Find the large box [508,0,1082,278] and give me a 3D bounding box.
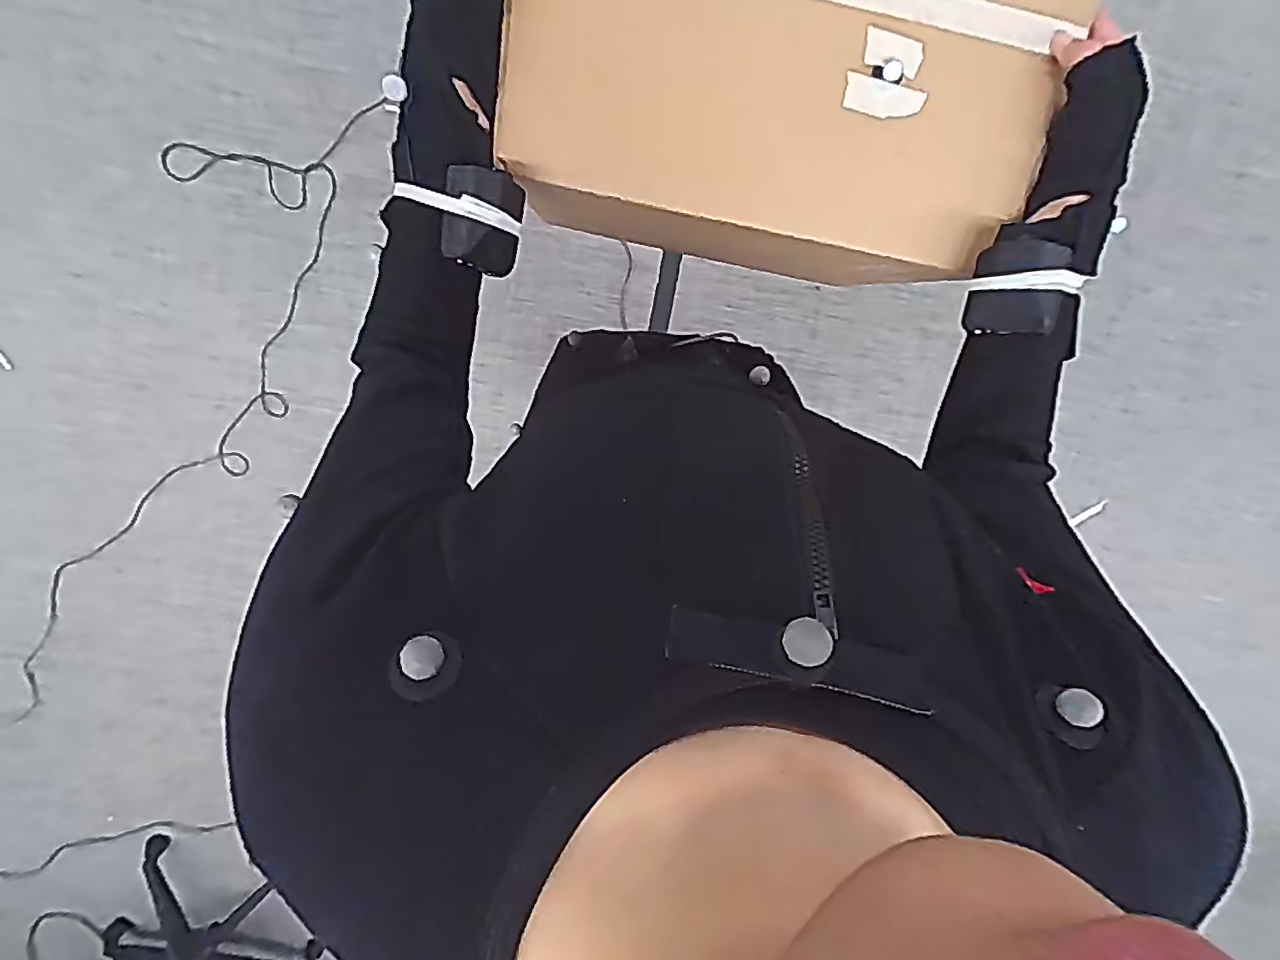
[{"bbox_3d":[0.107,-0.393,0.520,0.408,0.320,0.320,9,109,-7],"label":"large box"}]
